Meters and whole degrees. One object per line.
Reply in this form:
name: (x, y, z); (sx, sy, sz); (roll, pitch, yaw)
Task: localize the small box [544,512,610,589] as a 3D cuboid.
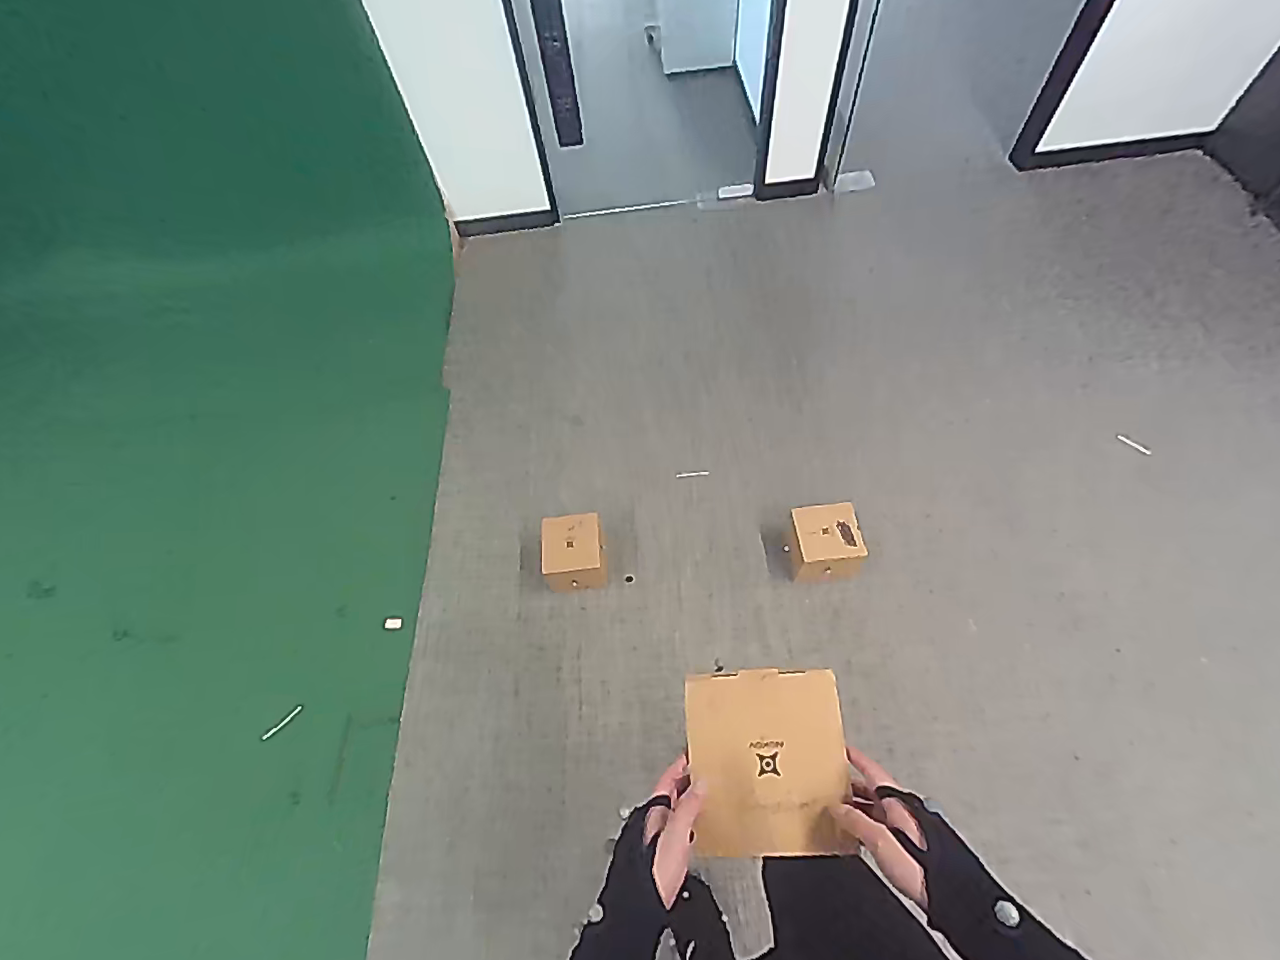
small box: (-0.184, 0.216, 1.603); (0.168, 0.176, 0.179); (-6, 59, 2)

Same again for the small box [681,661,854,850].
small box: (0.134, 0.307, 0.636); (0.168, 0.176, 0.179); (-3, 72, 5)

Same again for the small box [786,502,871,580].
small box: (0.533, 0.178, 1.551); (0.179, 0.176, 0.168); (-6, 59, 3)
